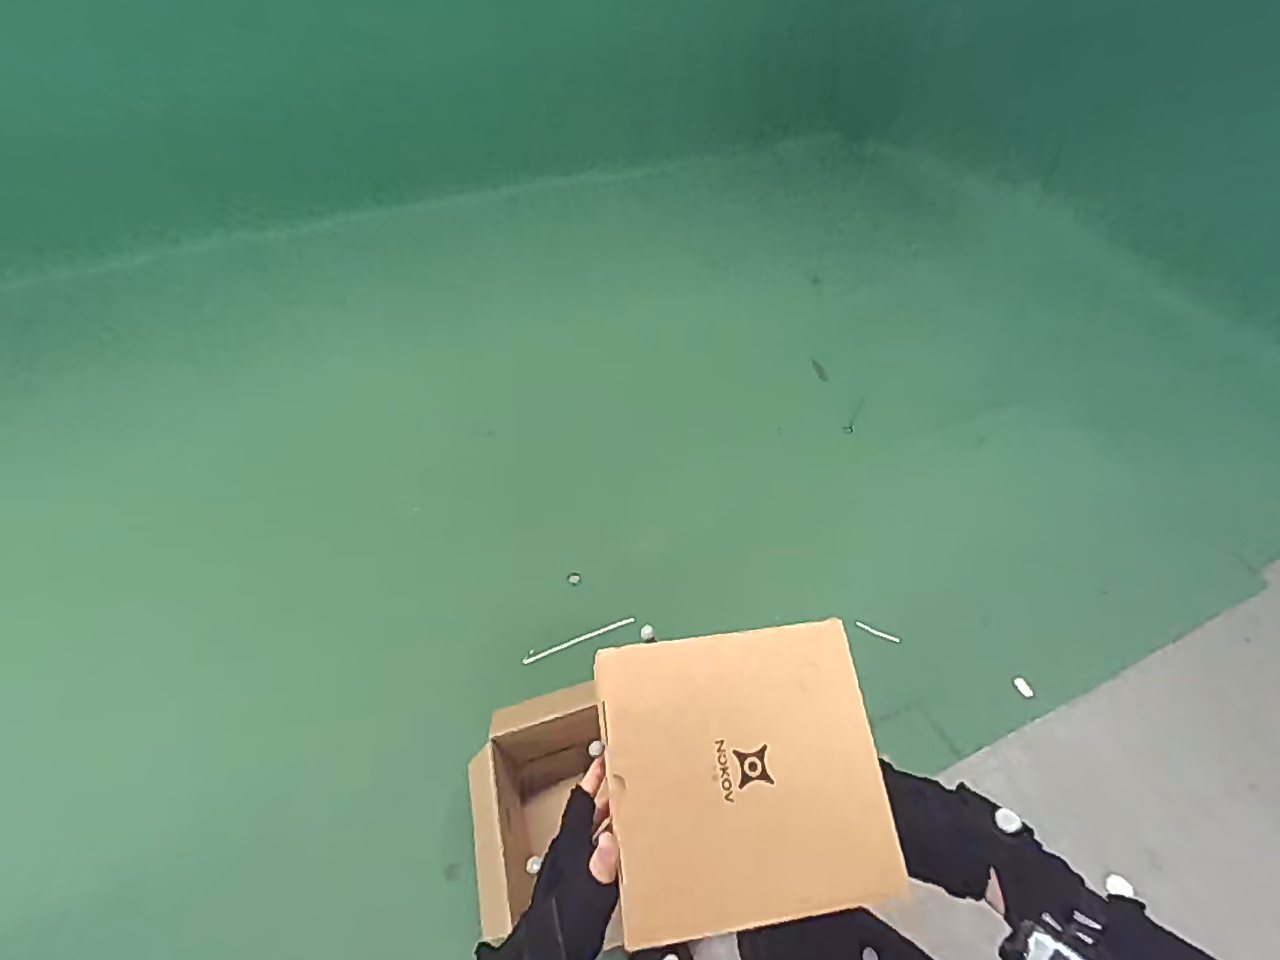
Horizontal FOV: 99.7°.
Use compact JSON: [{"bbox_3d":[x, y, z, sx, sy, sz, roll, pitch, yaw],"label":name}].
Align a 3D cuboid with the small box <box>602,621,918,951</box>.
[{"bbox_3d":[0.066,0.209,0.415,0.179,0.176,0.168,-7,69,-6],"label":"small box"}]
